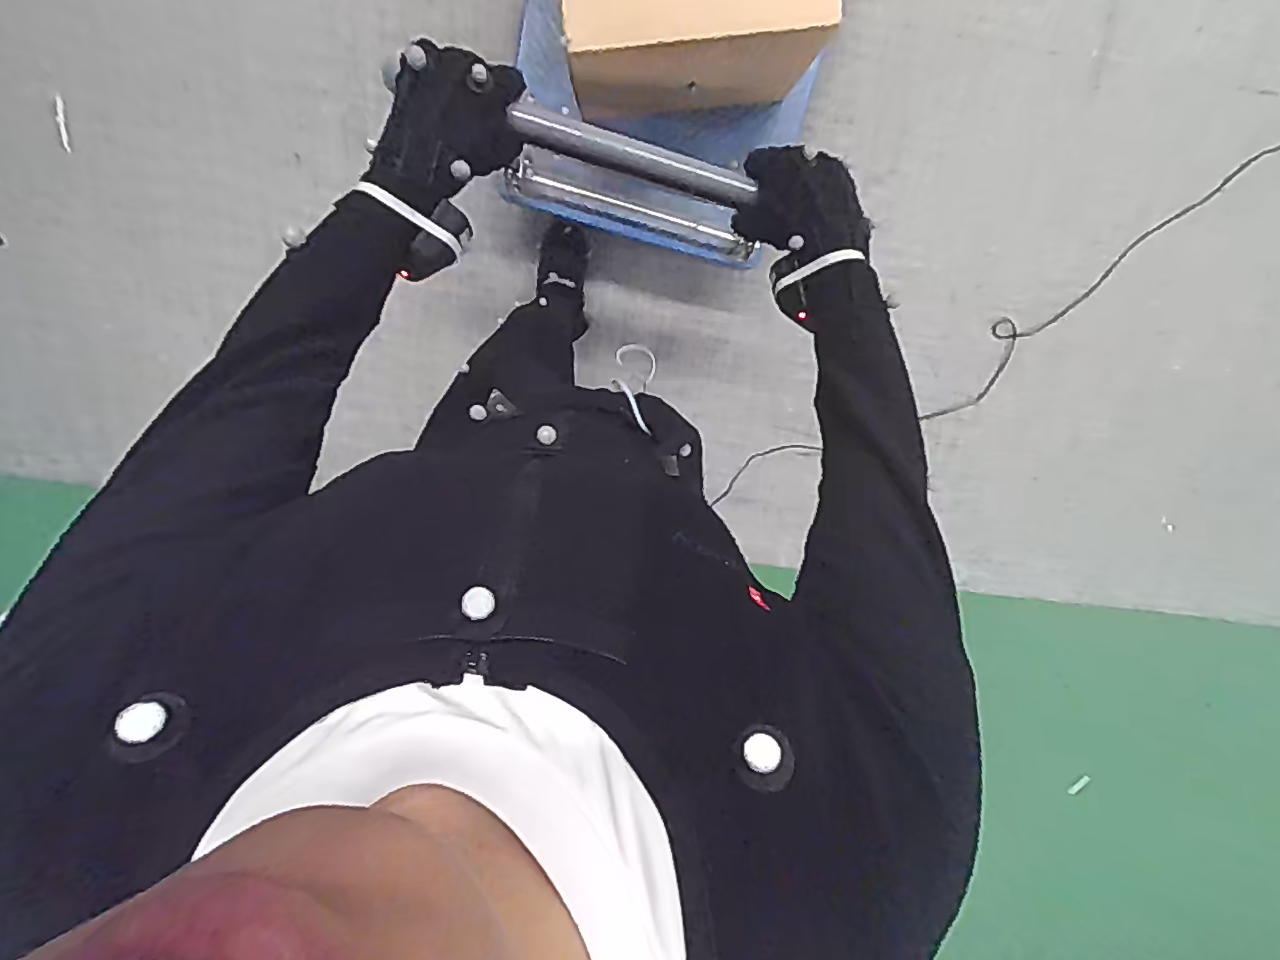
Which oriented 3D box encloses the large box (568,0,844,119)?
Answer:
[{"bbox_3d":[0.085,-0.839,0.891,0.408,0.320,0.320,-6,106,2],"label":"large box"}]
